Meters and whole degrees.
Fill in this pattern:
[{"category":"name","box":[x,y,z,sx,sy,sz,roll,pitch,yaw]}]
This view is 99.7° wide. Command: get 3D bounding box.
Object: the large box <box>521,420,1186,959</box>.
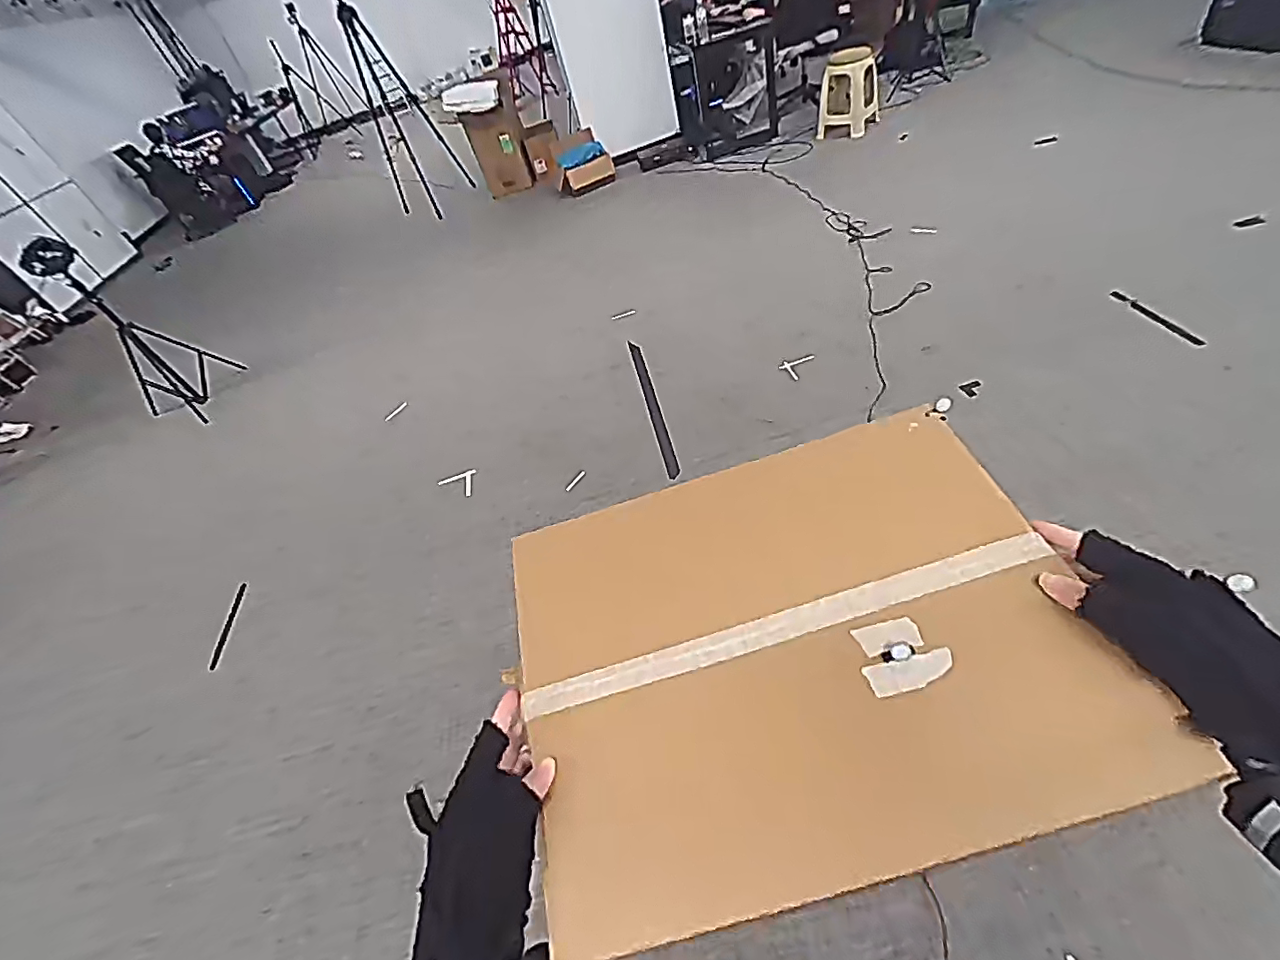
[{"category":"large box","box":[0.138,0.205,0.535,0.408,0.320,0.320,-18,52,1]}]
